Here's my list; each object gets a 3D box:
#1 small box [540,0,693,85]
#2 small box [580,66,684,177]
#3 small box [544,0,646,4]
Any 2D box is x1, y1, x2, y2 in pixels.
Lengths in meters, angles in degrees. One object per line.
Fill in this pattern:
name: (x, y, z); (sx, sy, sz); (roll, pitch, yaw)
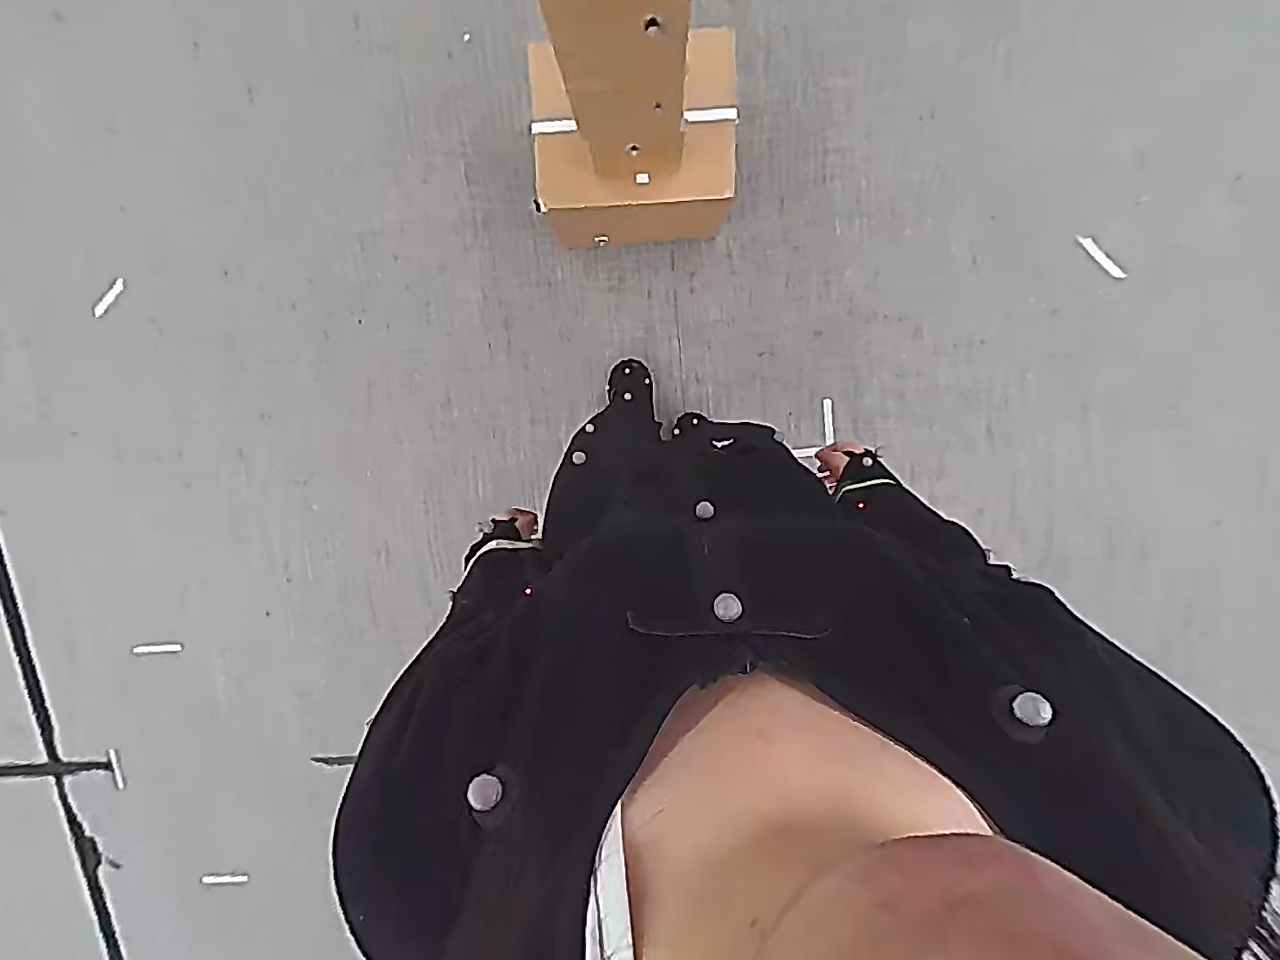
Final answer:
small box: (-0.027, -0.629, 0.677); (0.179, 0.176, 0.168); (-1, 99, 2)
small box: (-0.013, -0.682, 1.000); (0.179, 0.176, 0.168); (-5, 100, 2)
small box: (-0.032, -0.603, 0.517); (0.179, 0.176, 0.168); (-1, 100, 2)
